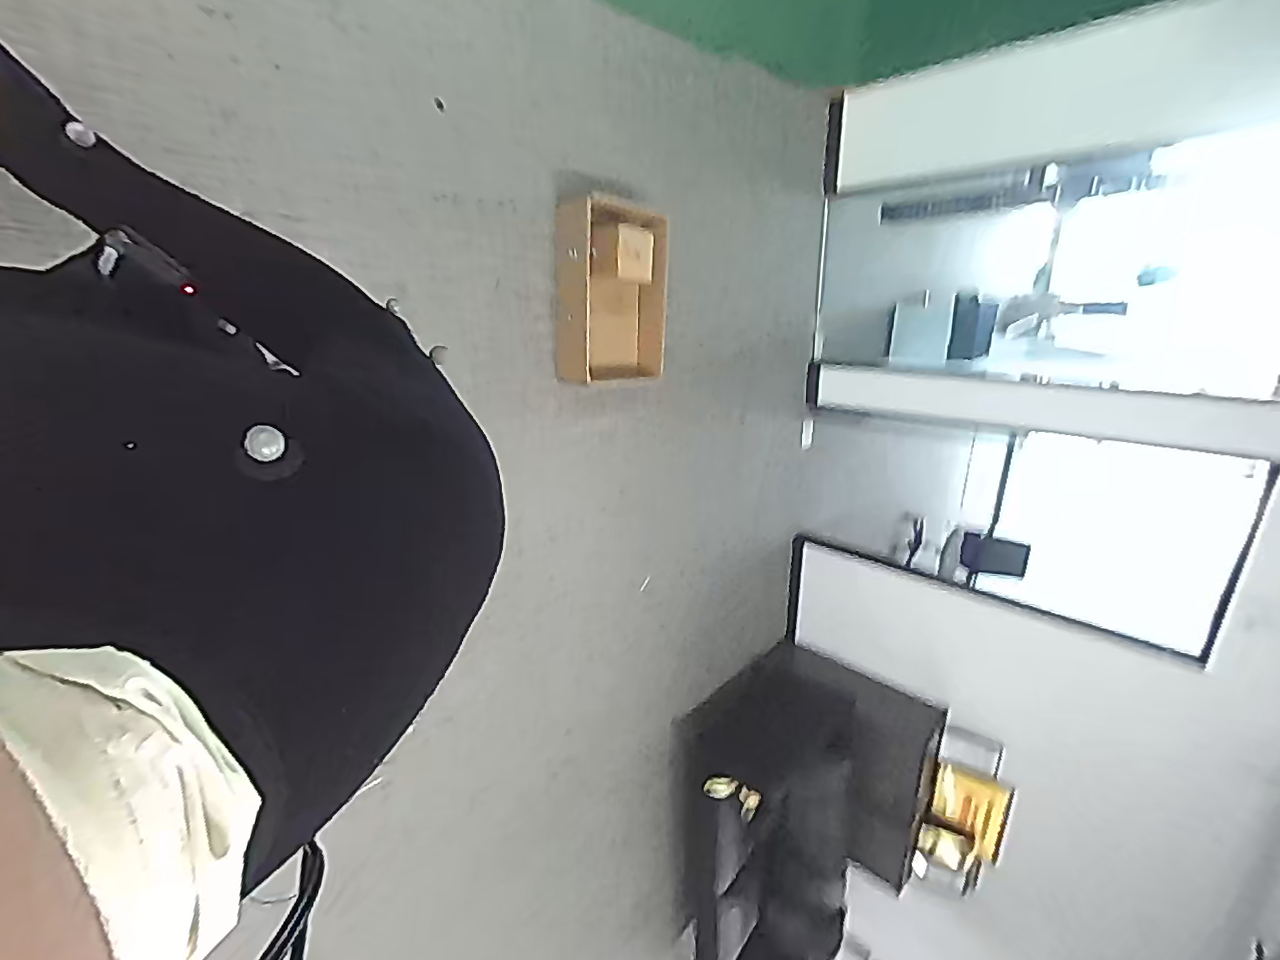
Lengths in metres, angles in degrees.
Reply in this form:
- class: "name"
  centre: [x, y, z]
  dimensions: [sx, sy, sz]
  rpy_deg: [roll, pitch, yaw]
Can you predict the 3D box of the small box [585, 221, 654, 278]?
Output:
- class: "small box"
  centre: [-0.073, -0.814, 1.924]
  dimensions: [0.179, 0.176, 0.168]
  rpy_deg: [-14, 112, -45]
